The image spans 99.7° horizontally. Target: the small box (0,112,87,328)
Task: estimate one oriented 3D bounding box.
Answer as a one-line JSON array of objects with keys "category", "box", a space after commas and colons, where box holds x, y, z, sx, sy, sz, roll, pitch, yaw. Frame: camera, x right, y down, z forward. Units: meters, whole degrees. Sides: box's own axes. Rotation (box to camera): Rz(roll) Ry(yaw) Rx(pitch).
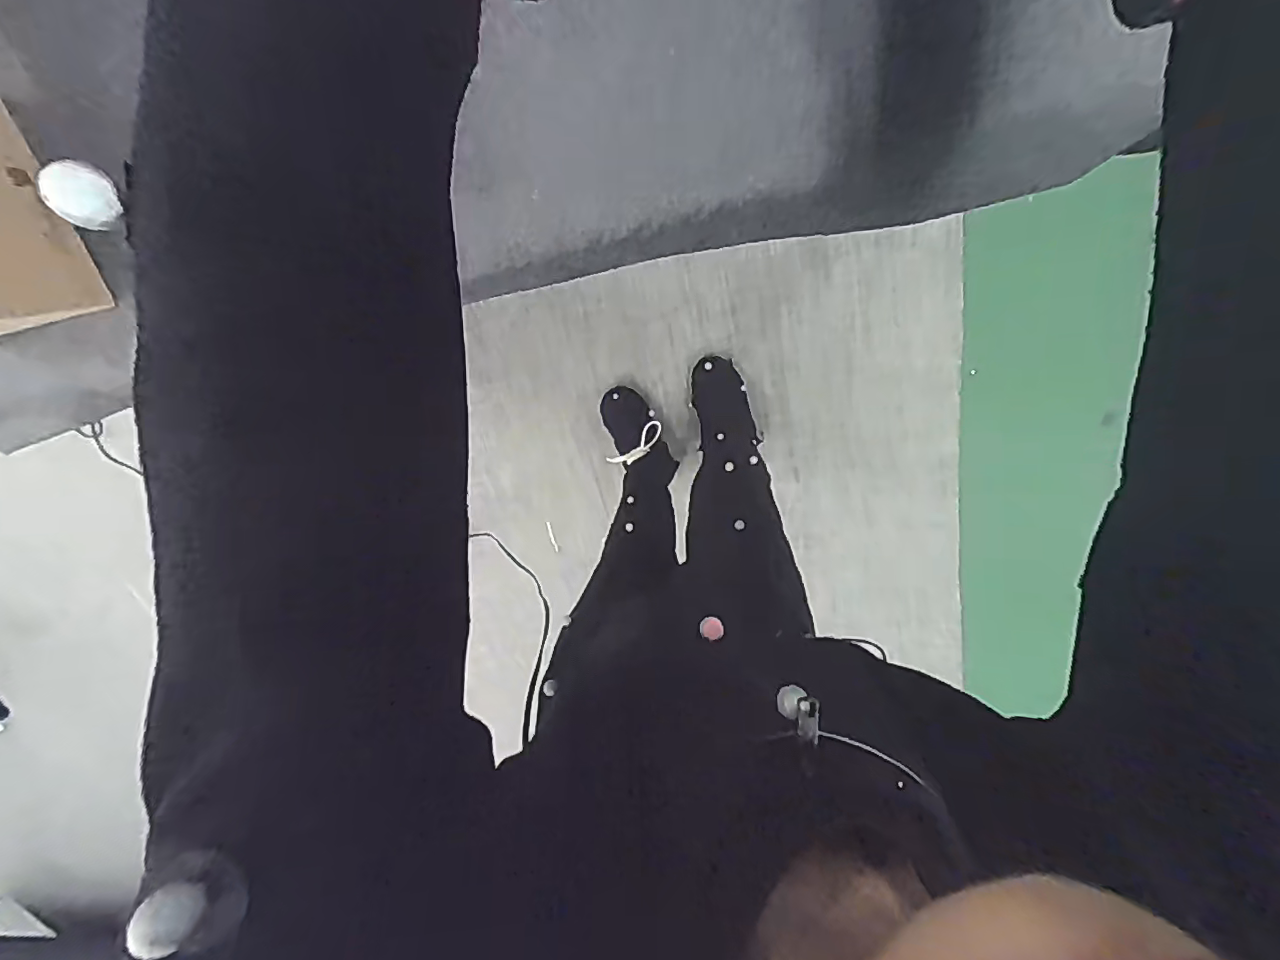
[{"category": "small box", "box": [-0.589, -0.193, 0.406, 0.179, 0.176, 0.168, -7, 113, 13]}]
